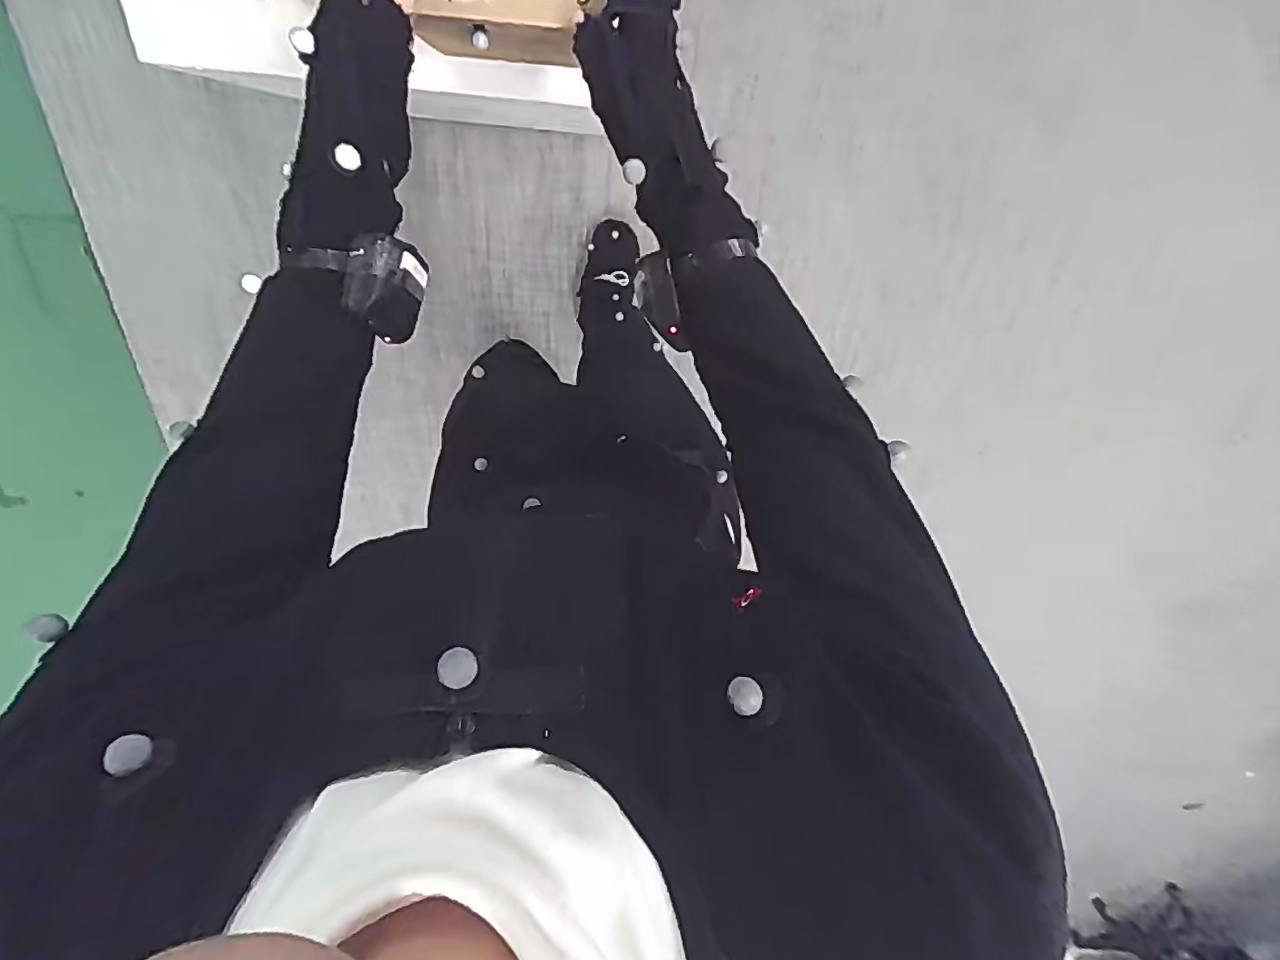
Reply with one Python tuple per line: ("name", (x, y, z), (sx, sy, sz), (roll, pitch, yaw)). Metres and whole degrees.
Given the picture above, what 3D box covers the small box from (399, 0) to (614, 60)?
("small box", (-0.102, -0.457, 0.421), (0.168, 0.176, 0.179), (1, 121, -5))
